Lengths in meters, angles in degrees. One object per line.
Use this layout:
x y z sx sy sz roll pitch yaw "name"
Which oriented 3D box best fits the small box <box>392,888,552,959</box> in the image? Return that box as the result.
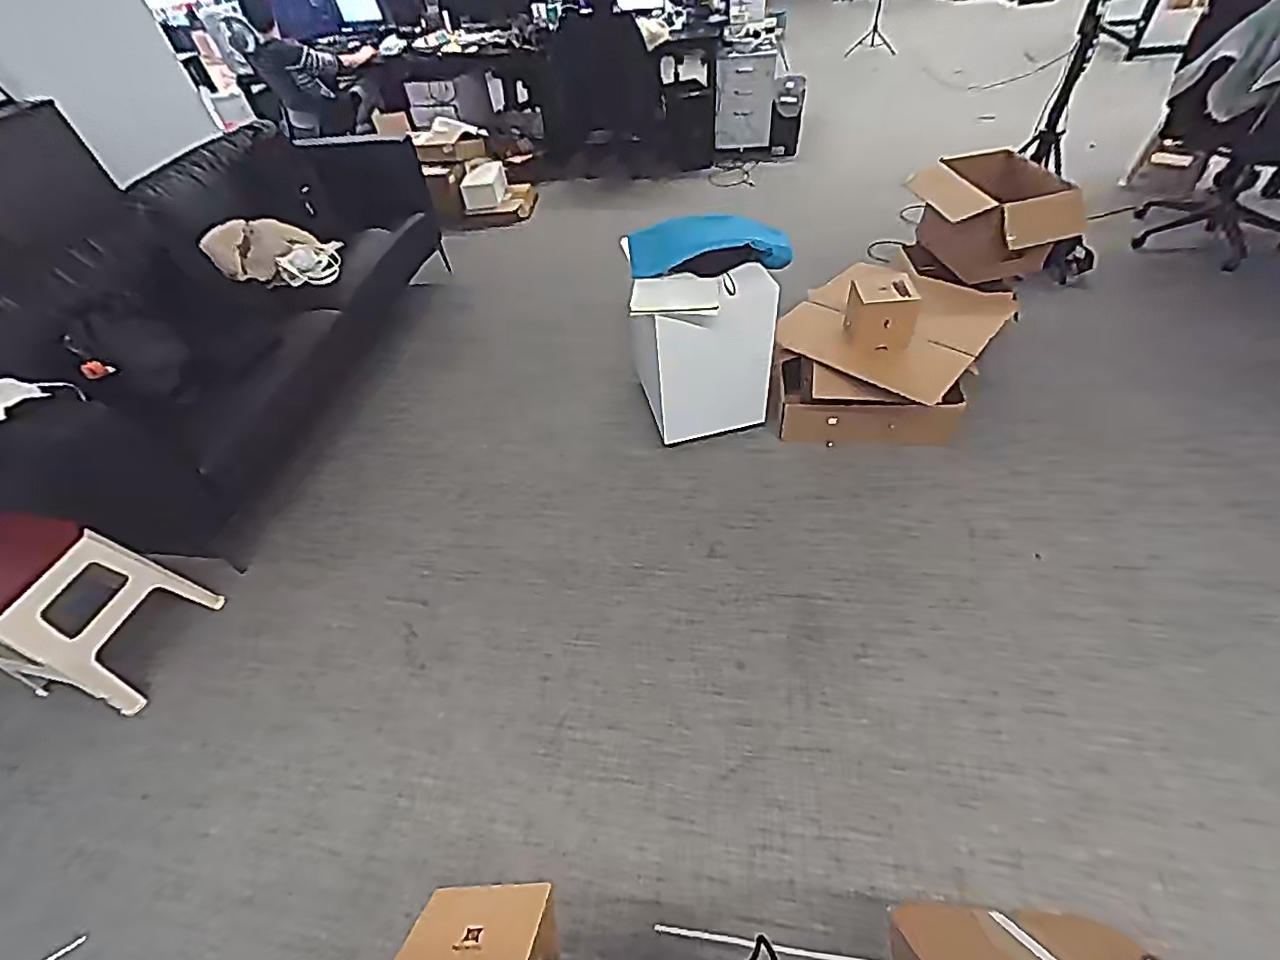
-0.205 0.644 0.657 0.168 0.179 0.176 -5 89 3 "small box"
